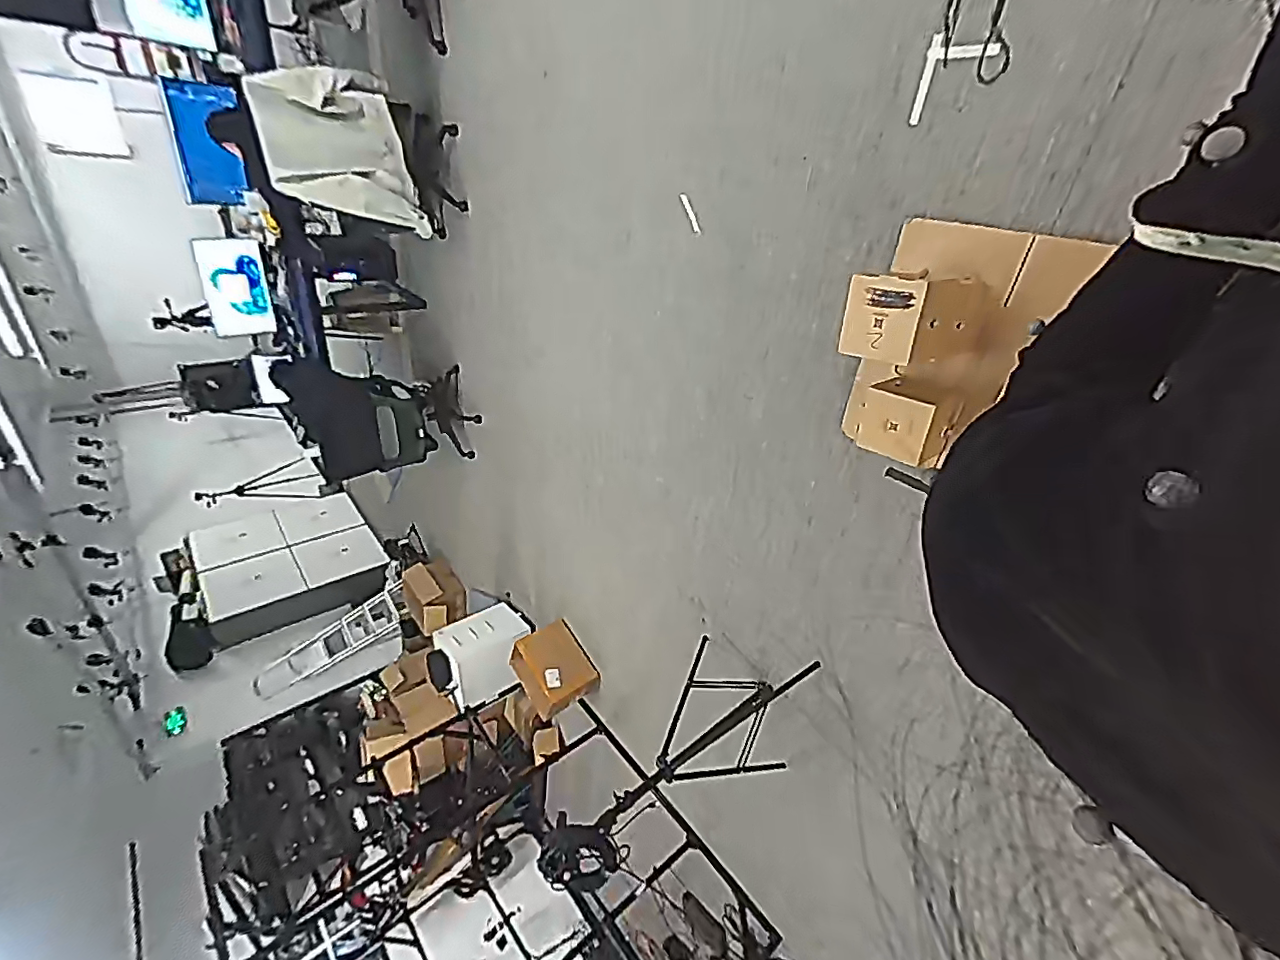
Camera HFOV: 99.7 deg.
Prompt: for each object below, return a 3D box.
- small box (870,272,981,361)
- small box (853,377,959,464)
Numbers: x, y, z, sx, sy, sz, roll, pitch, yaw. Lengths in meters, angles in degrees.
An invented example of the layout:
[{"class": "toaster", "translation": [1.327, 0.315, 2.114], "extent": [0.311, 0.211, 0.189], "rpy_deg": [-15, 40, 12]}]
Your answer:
[{"class": "small box", "translation": [0.690, -0.401, 1.305], "extent": [0.168, 0.176, 0.179], "rpy_deg": [30, 127, 41]}, {"class": "small box", "translation": [0.691, -0.163, 1.409], "extent": [0.179, 0.176, 0.168], "rpy_deg": [28, 128, 41]}]
